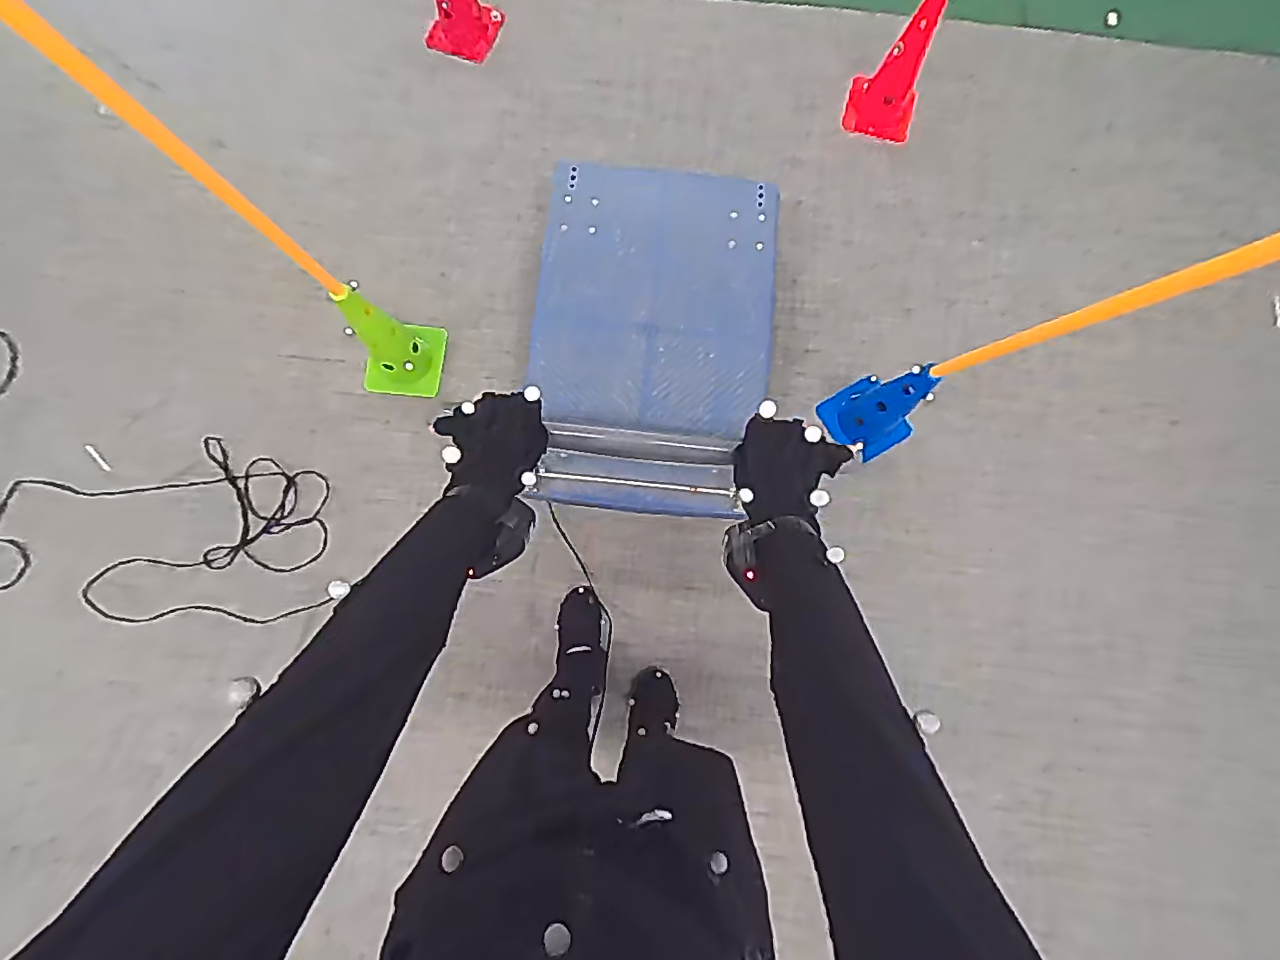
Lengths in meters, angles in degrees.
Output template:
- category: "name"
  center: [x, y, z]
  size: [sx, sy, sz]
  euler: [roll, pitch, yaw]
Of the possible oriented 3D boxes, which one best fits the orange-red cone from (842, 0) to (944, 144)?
- category: "orange-red cone"
  center: [0.726, -1.149, 1.468]
  size: [0.198, 0.360, 0.199]
  euler: [17, 80, 3]
